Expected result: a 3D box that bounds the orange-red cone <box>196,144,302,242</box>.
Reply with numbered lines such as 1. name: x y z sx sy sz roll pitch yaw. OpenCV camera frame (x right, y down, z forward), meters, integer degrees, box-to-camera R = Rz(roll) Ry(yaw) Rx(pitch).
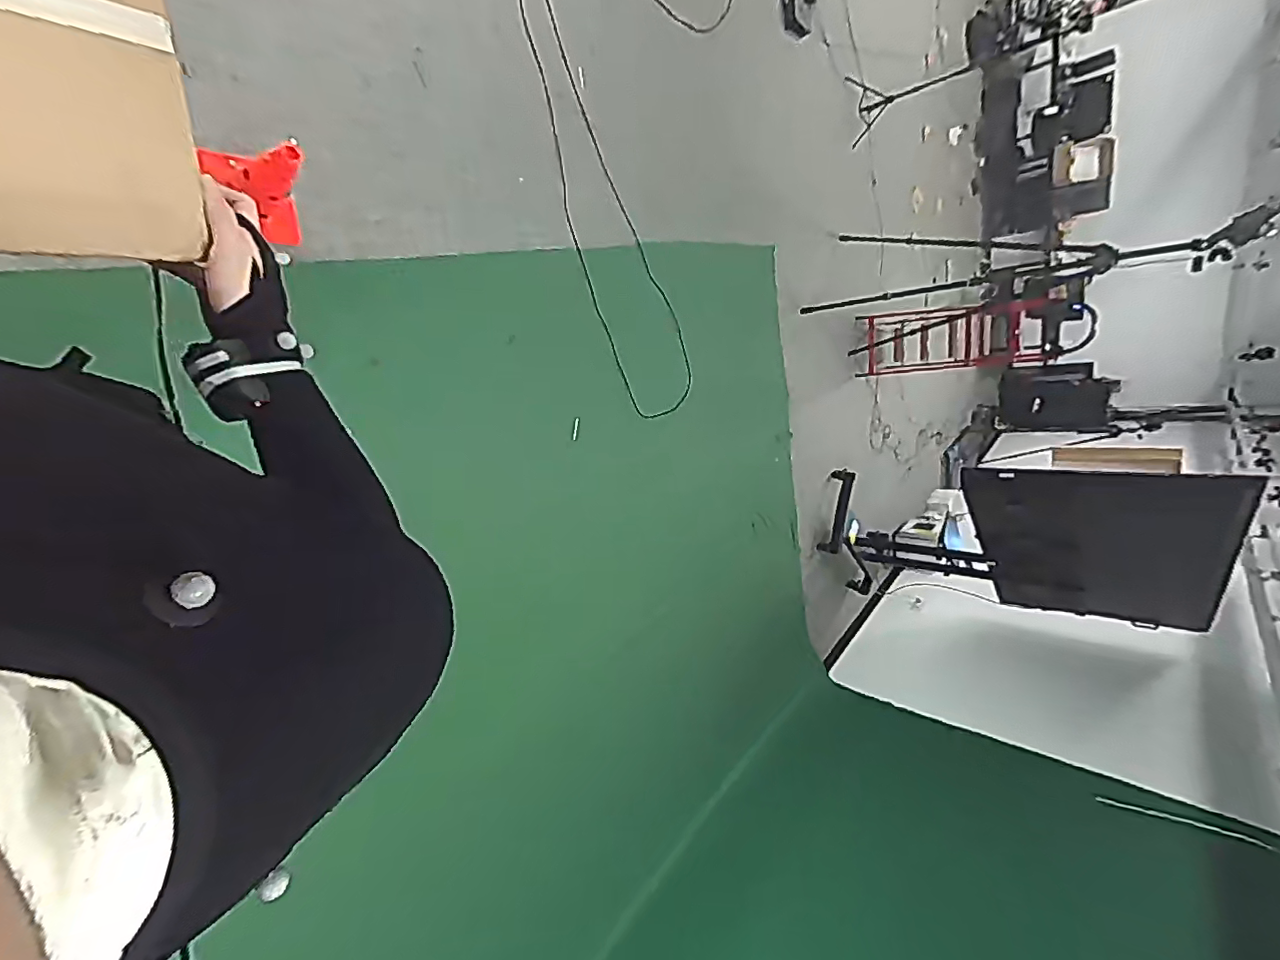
1. orange-red cone: -0.848 -0.693 1.235 0.199 0.360 0.198 -17 108 -47
